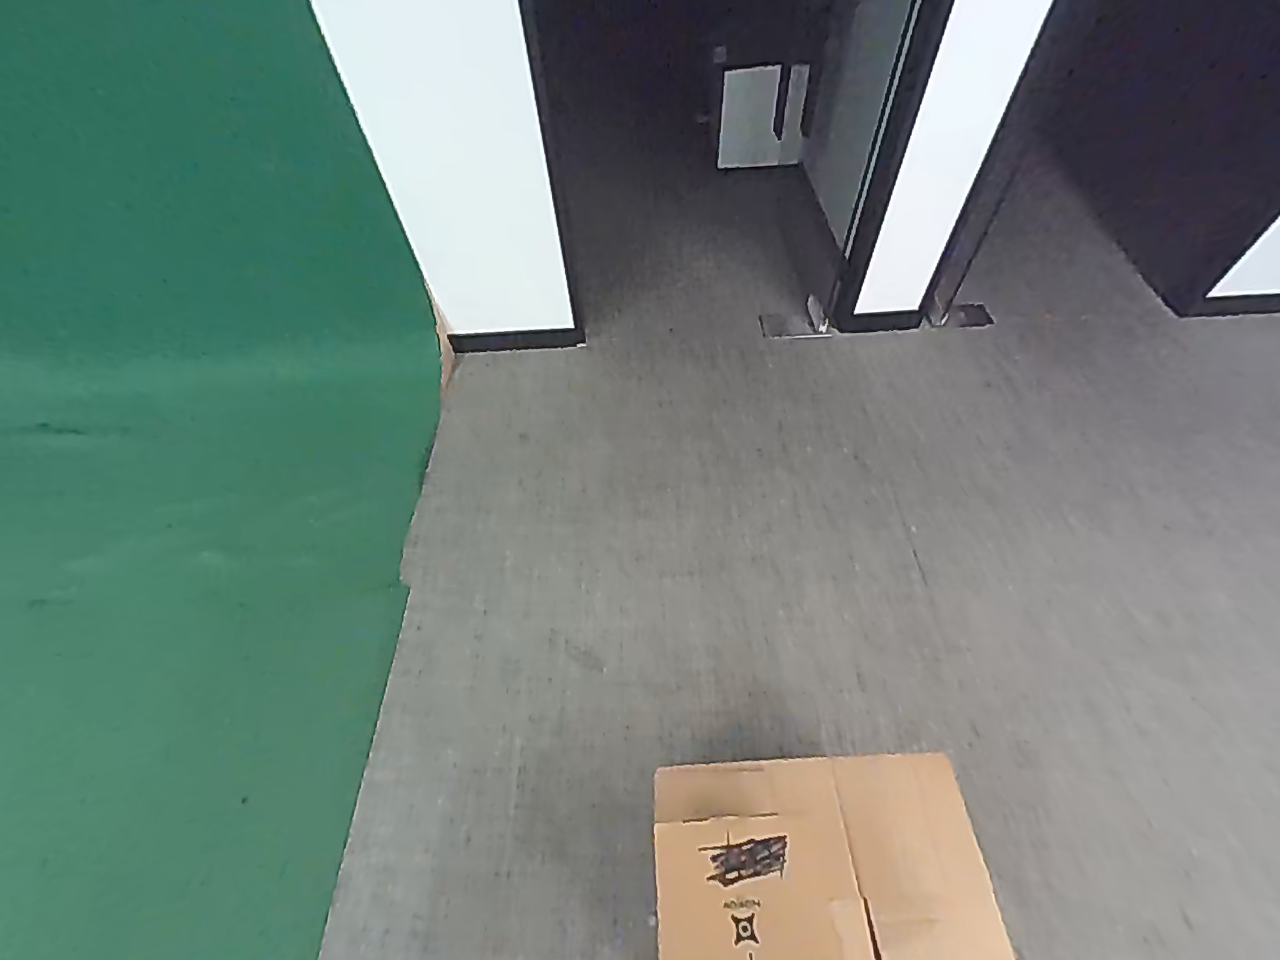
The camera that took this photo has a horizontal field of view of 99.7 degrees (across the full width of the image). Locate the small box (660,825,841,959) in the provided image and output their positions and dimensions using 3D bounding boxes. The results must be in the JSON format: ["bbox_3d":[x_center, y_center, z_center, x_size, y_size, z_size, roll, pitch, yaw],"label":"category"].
[{"bbox_3d":[0.109,0.490,0.565,0.168,0.176,0.179,-6,41,3],"label":"small box"}]
